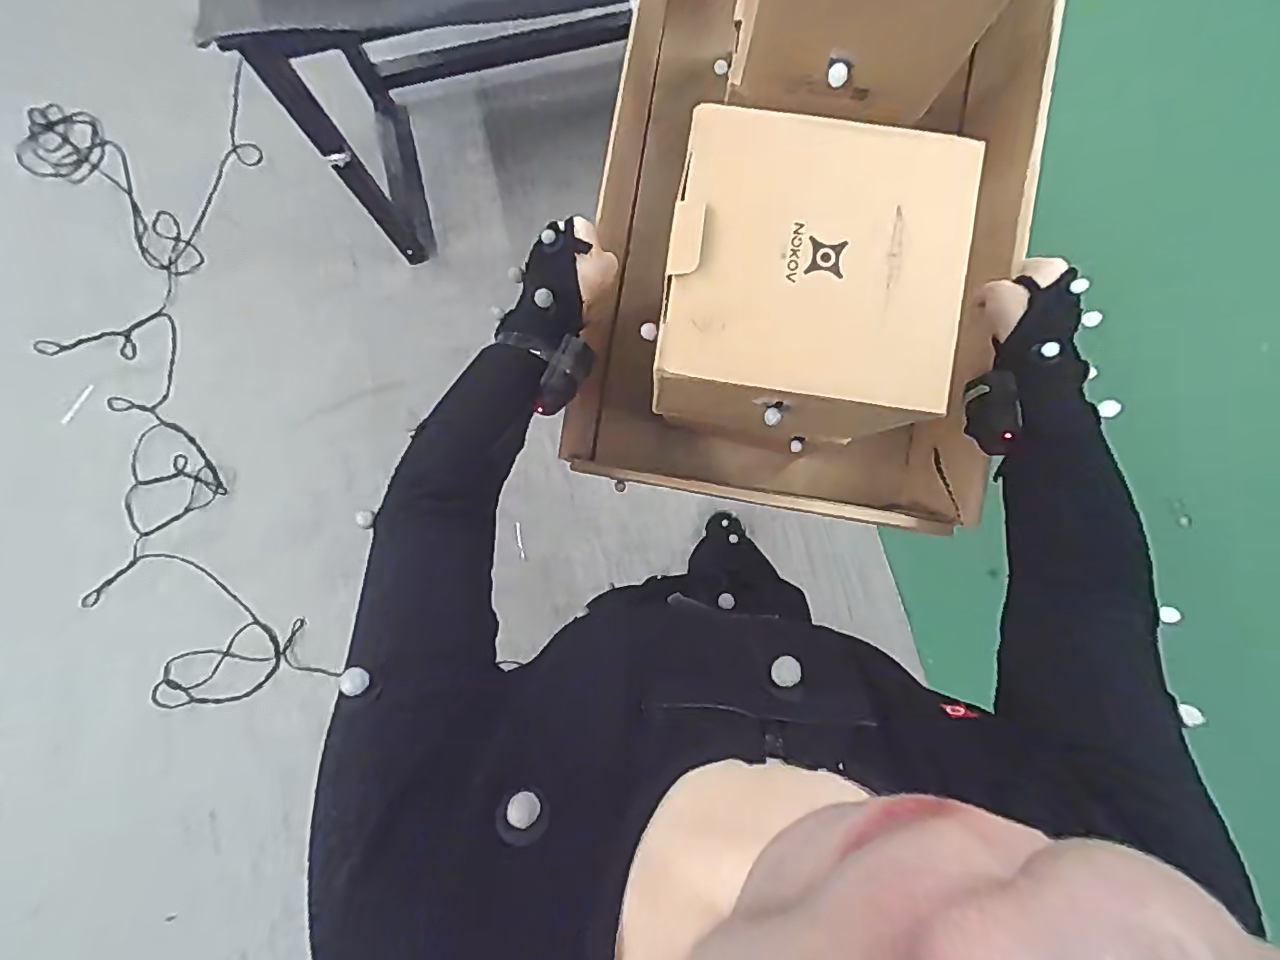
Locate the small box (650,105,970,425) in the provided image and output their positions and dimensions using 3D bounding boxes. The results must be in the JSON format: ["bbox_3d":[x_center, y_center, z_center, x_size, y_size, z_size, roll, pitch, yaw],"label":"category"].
[{"bbox_3d":[0.105,-0.138,0.408,0.179,0.176,0.168,8,91,1],"label":"small box"}]

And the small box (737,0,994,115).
[{"bbox_3d":[0.174,-0.422,0.402,0.168,0.176,0.179,9,92,1],"label":"small box"}]
